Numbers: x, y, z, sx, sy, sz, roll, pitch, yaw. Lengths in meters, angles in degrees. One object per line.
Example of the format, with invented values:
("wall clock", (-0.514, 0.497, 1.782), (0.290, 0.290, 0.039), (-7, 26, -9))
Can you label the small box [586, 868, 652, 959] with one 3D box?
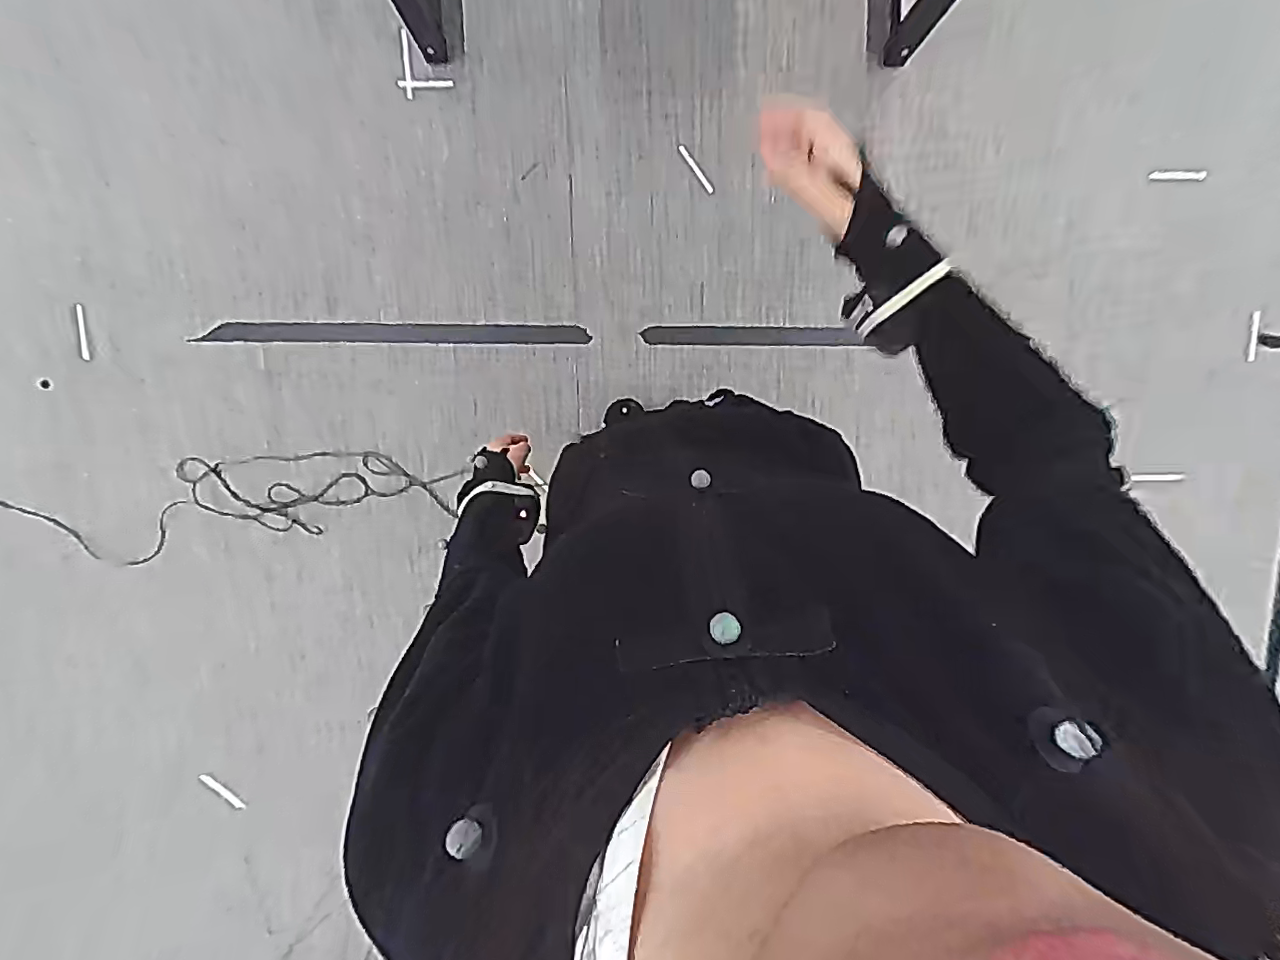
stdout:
("small box", (-0.063, 1.287, 1.597), (0.179, 0.176, 0.168), (4, 98, -3))
